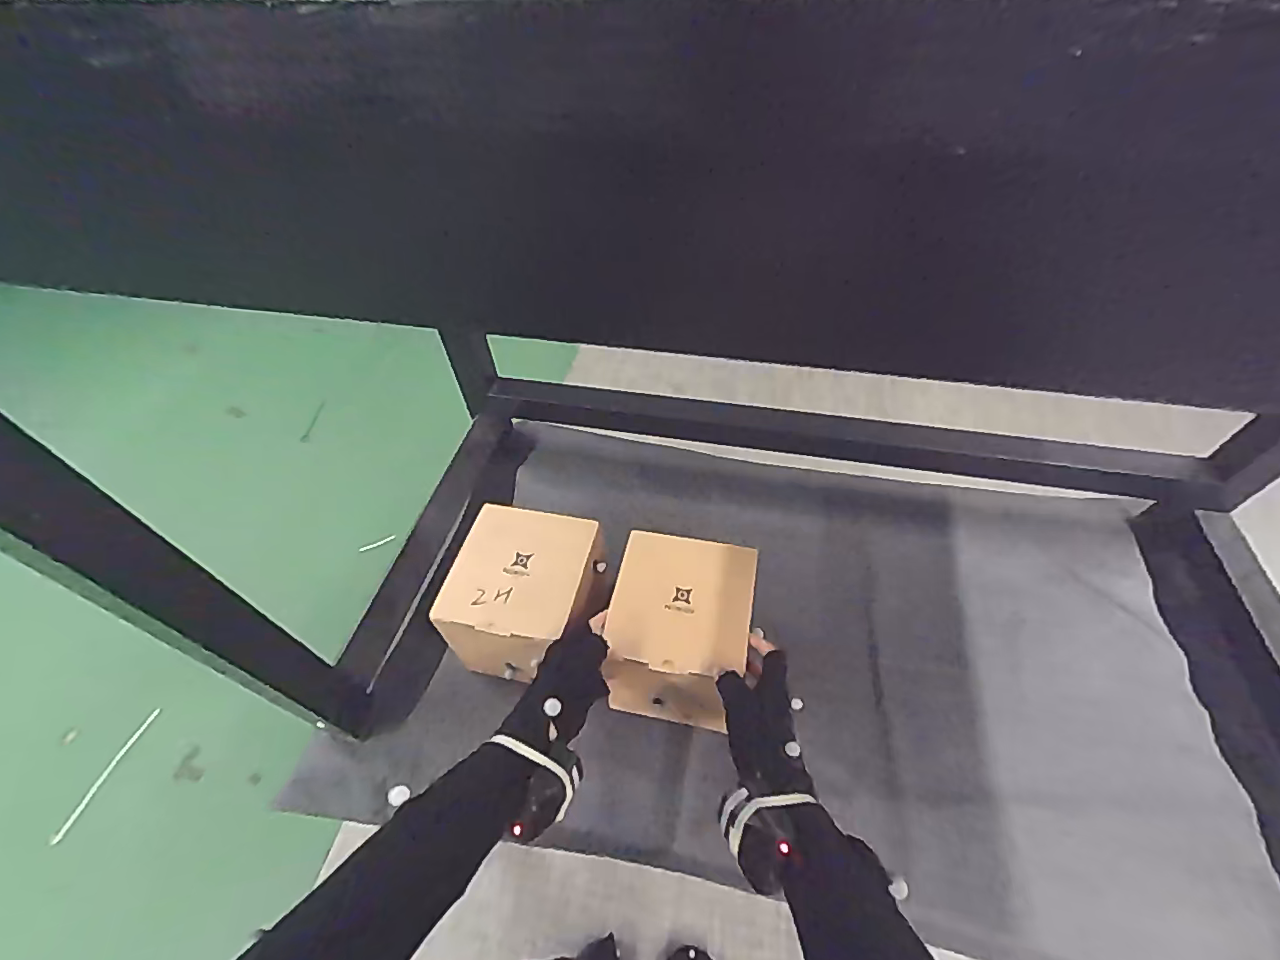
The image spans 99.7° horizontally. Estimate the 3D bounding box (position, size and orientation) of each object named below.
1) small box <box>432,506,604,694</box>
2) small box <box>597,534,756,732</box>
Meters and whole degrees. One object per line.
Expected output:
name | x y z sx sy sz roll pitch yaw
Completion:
small box | -0.149 0.164 0.738 0.168 0.176 0.179 9 50 10
small box | 0.051 0.198 0.702 0.168 0.176 0.179 7 50 11
